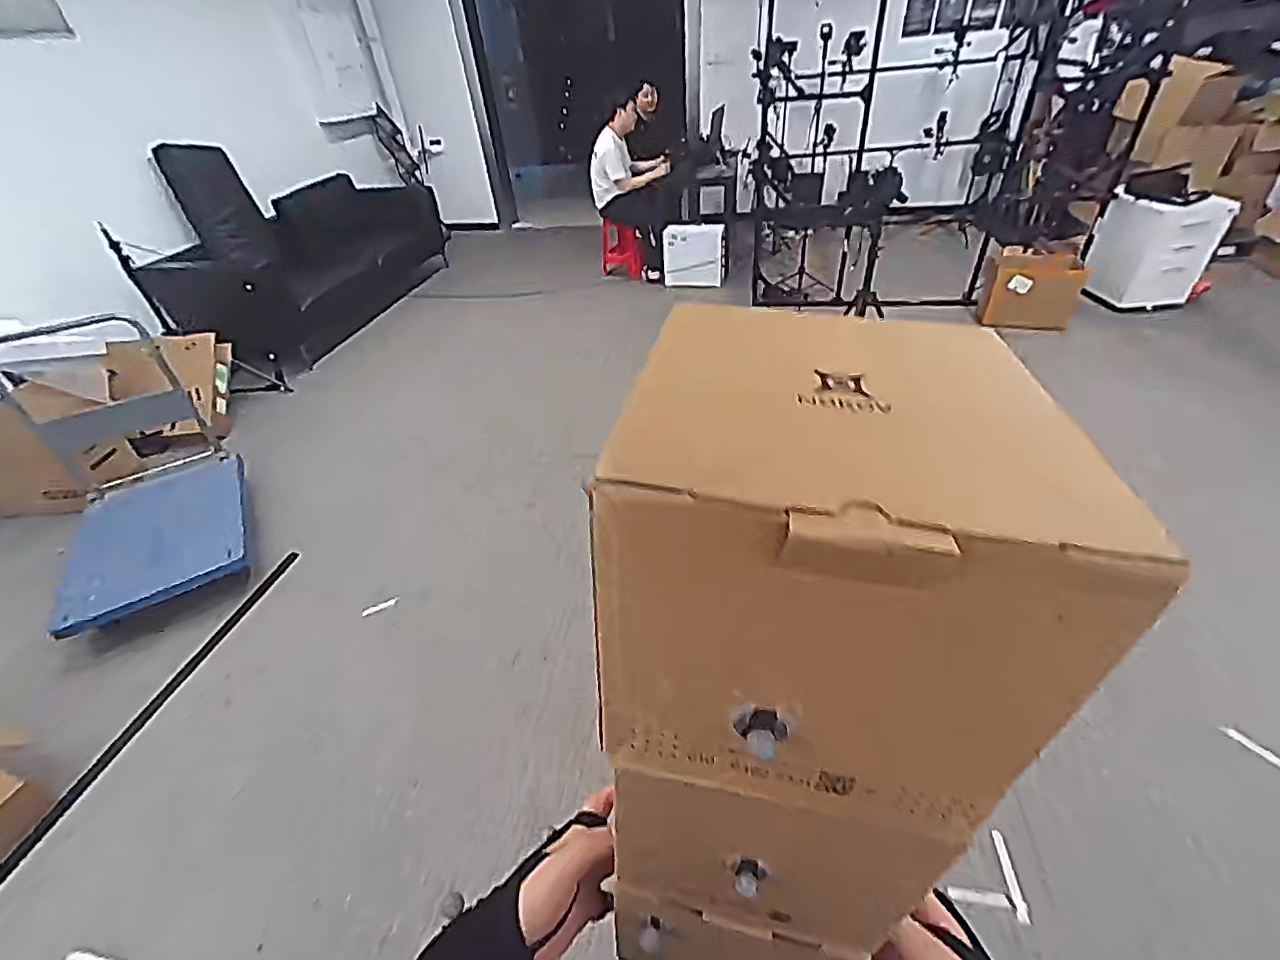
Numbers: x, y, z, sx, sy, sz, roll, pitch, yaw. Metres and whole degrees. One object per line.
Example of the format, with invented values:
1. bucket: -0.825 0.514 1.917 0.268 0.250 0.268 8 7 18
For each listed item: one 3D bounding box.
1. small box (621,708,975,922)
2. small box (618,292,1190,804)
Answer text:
1. small box: 0.088 0.154 0.365 0.168 0.176 0.179 8 35 9
2. small box: 0.086 0.020 0.272 0.168 0.176 0.179 7 36 9
